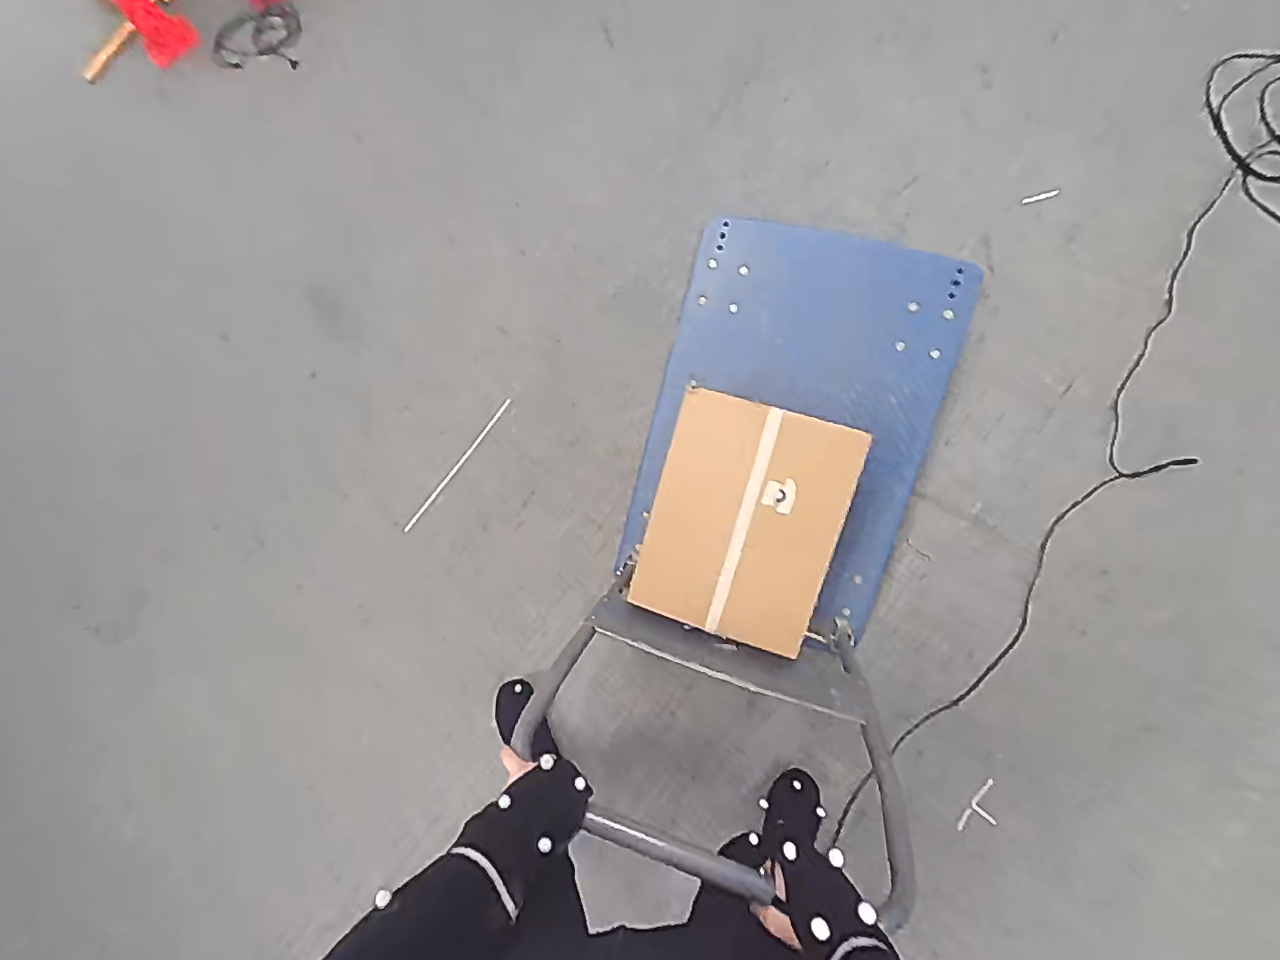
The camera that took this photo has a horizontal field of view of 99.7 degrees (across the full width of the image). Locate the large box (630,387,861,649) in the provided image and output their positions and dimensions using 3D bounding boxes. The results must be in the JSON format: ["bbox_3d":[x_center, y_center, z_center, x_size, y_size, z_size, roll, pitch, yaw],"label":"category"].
[{"bbox_3d":[0.205,0.057,1.092,0.320,0.320,0.408,18,98,10],"label":"large box"}]
